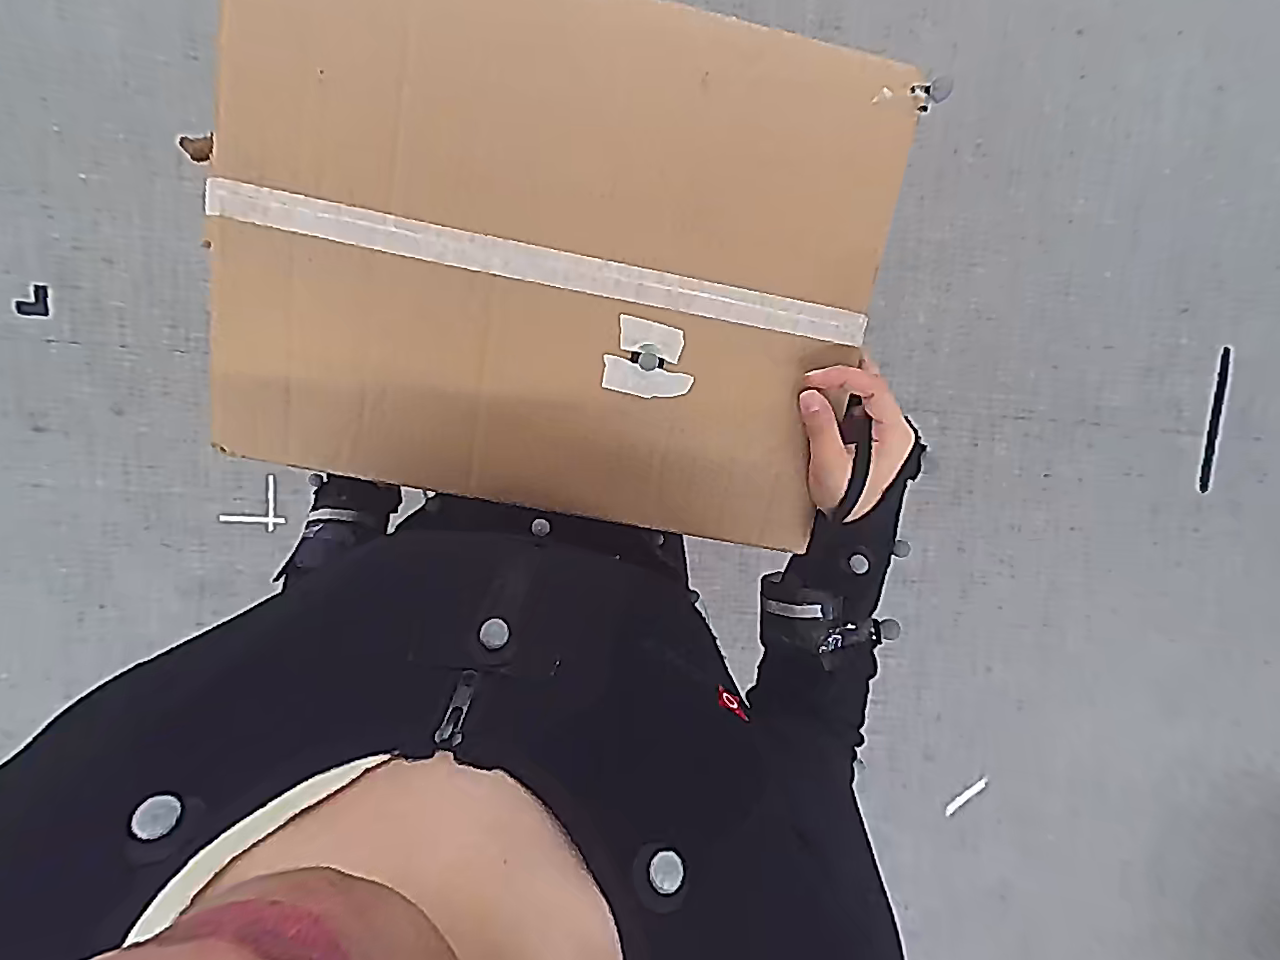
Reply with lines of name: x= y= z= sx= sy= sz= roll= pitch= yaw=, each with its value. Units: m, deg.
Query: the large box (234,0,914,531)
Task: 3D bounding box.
large box: x=-0.059 y=-0.168 z=0.492 sx=0.408 sy=0.320 sz=0.320 roll=10 pitch=102 yaw=-6
